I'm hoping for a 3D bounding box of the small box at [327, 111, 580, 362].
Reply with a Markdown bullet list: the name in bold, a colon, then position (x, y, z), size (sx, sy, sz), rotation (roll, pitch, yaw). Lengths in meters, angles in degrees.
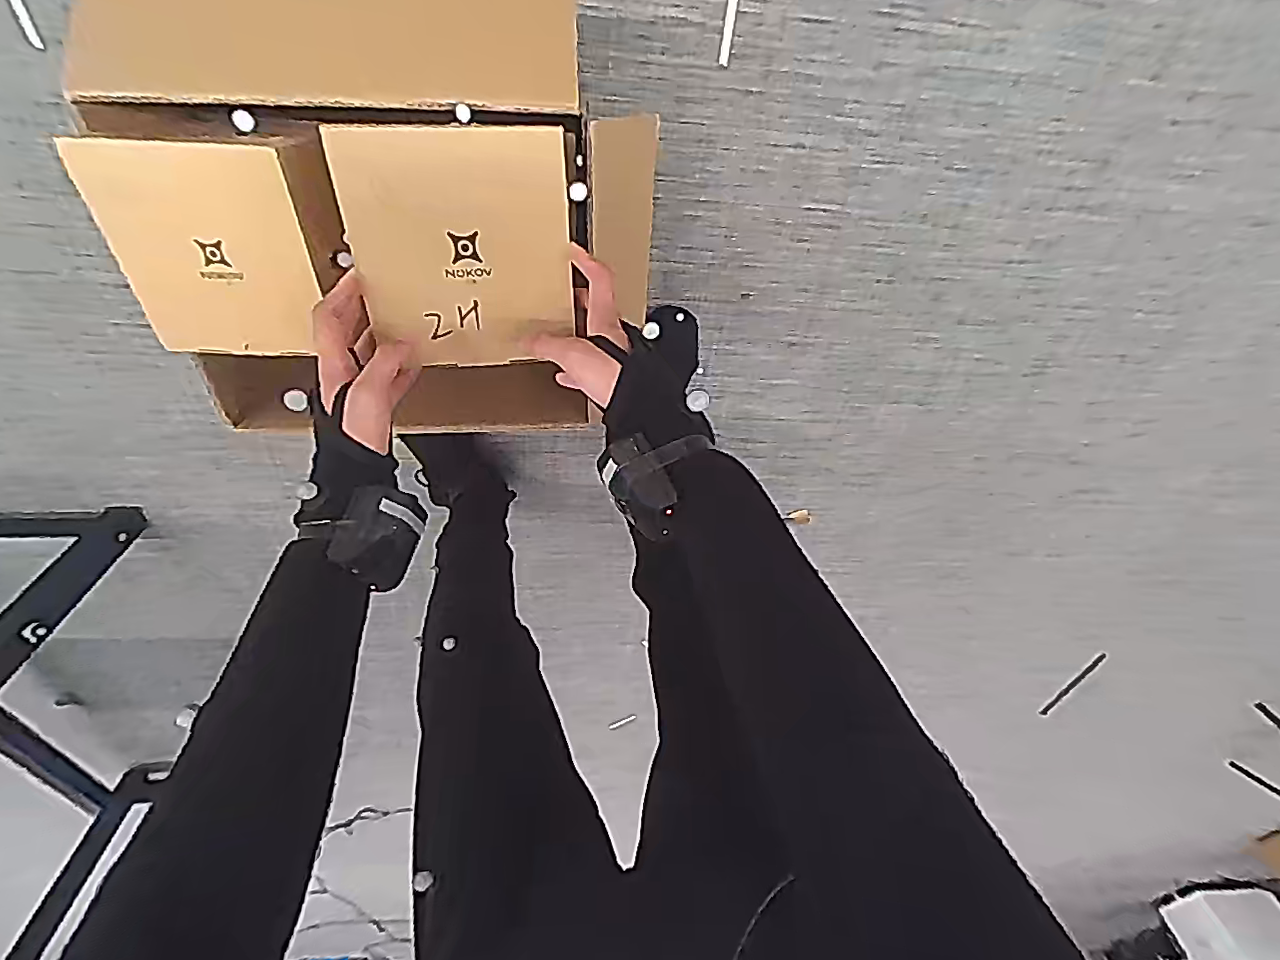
- **small box**: position (-0.144, -0.220, 0.482), size (0.168, 0.176, 0.179), rotation (-4, 124, -7)
